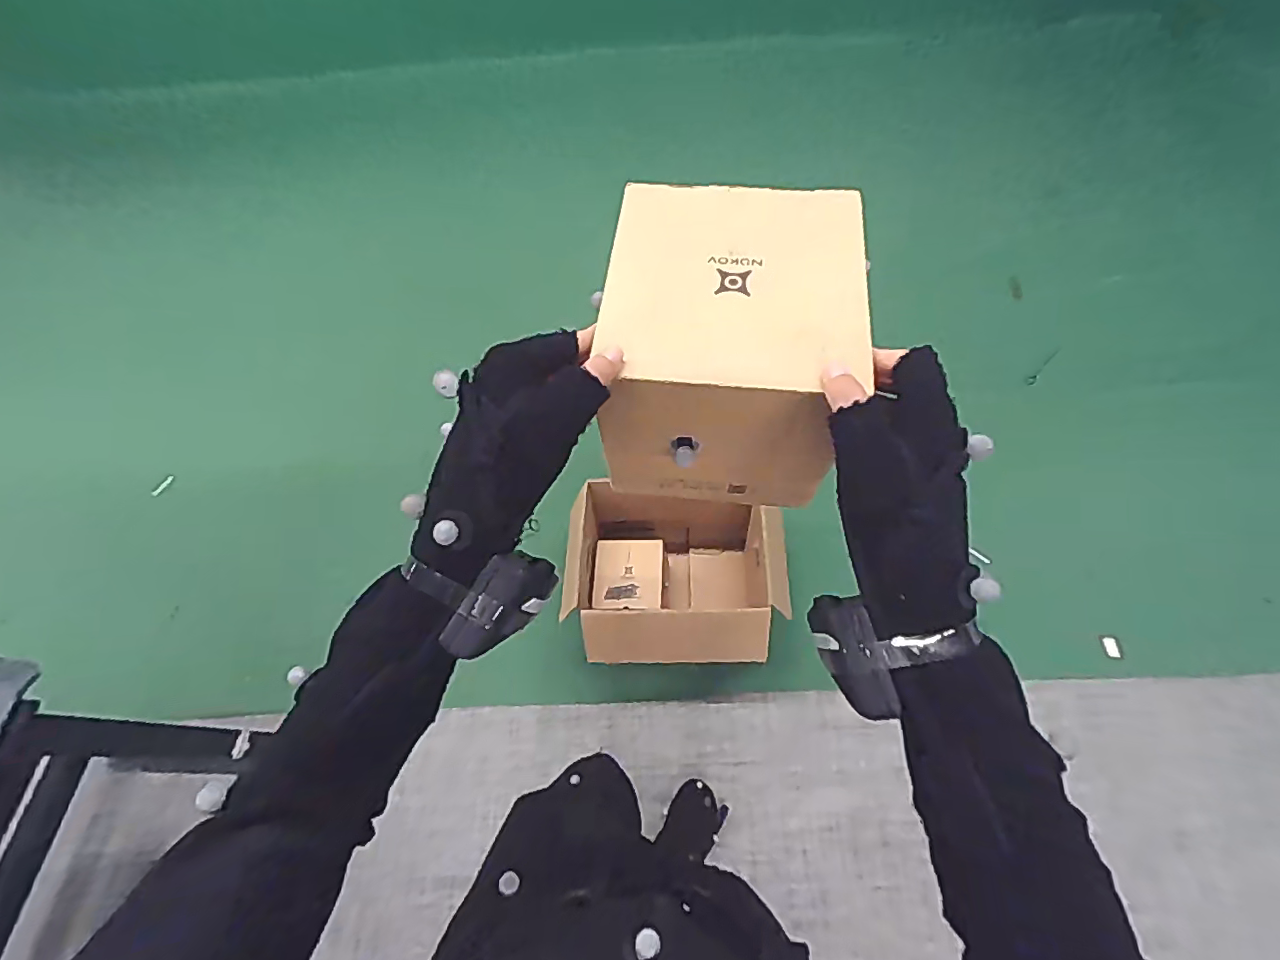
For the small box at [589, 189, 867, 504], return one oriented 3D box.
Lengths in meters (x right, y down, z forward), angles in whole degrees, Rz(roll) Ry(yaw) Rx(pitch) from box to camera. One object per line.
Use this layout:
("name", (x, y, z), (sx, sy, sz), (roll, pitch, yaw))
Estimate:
("small box", (0.065, -0.095, 0.423), (0.168, 0.176, 0.179), (5, 63, 6))
